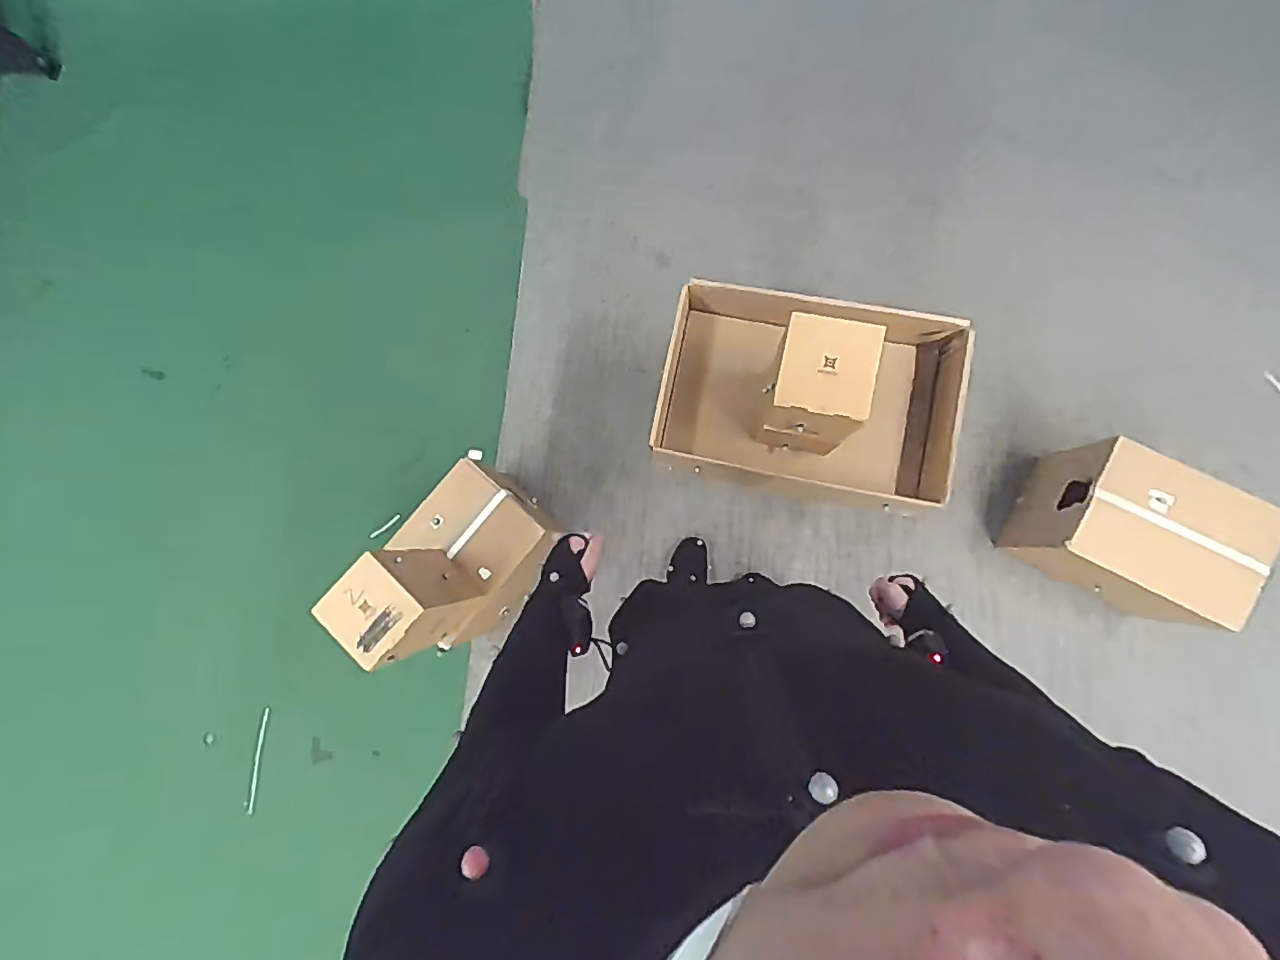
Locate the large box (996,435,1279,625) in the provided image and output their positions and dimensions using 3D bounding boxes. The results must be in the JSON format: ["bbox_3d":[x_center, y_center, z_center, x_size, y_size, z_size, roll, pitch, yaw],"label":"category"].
[{"bbox_3d":[1.260,0.129,1.407,0.408,0.320,0.320,28,86,9],"label":"large box"}]

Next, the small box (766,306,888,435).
[{"bbox_3d":[0.341,-0.198,1.015,0.168,0.176,0.179,12,85,8],"label":"small box"}]

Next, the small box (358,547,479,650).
[{"bbox_3d":[-0.520,0.274,1.298,0.179,0.176,0.168,44,87,8],"label":"small box"}]
